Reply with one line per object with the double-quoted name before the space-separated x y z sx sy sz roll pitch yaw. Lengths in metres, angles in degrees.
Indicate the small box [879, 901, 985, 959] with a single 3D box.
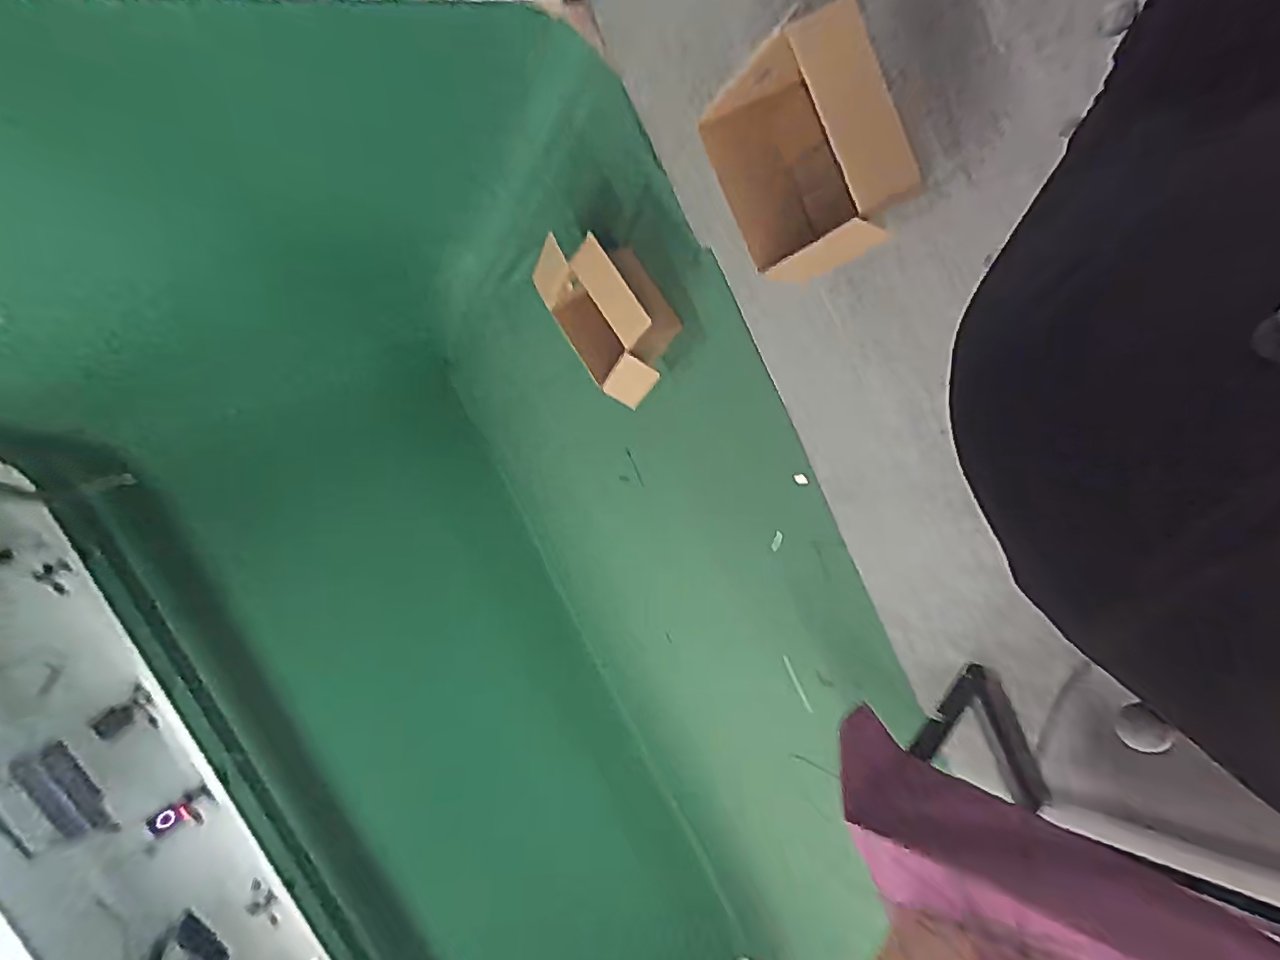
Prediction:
"small box" 0.720 1.184 1.307 0.168 0.176 0.179 -14 105 58
